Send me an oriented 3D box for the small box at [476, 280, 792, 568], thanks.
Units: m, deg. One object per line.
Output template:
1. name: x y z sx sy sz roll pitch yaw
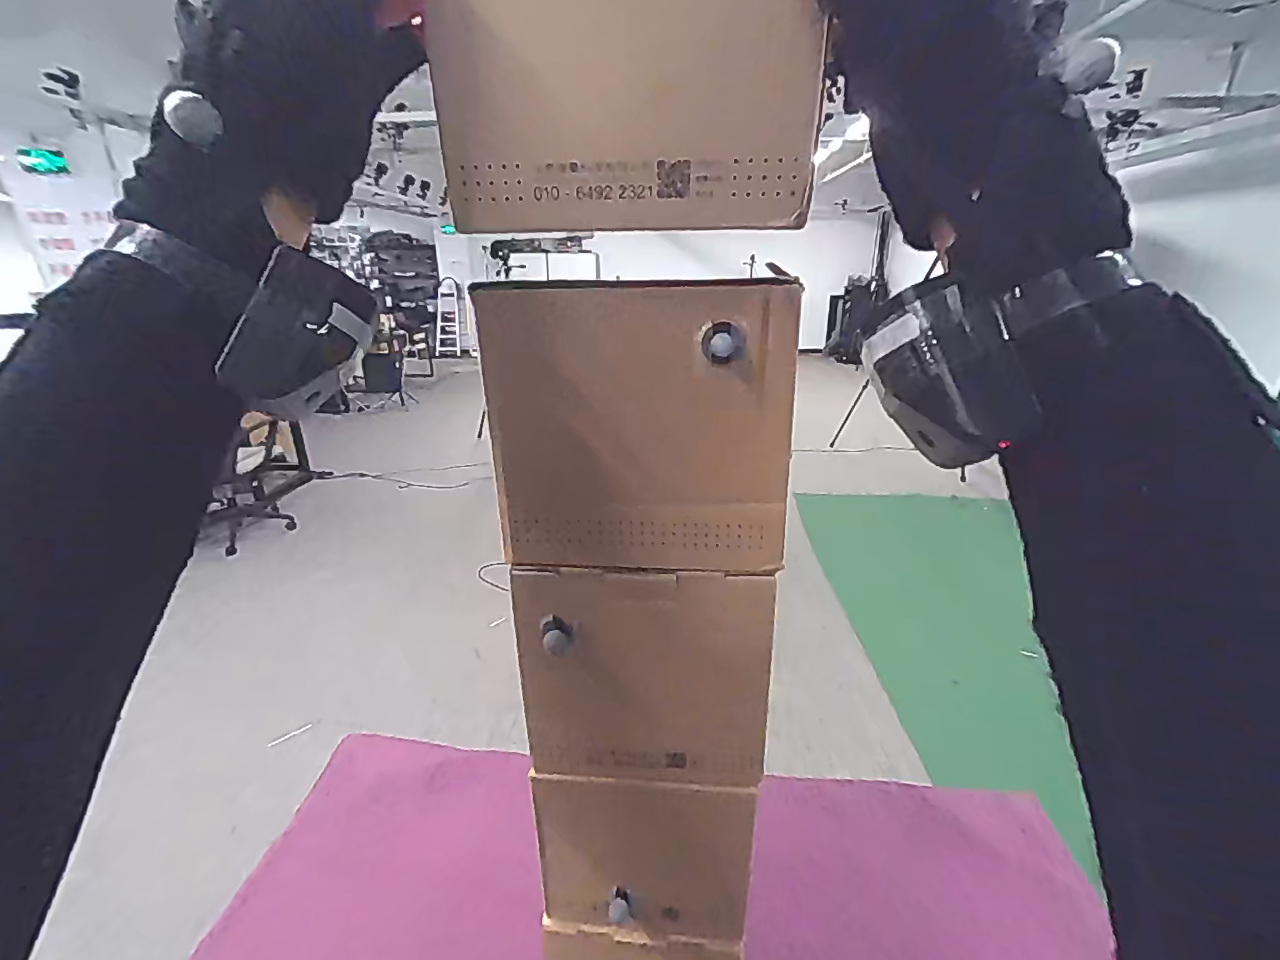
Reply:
1. small box: 0.004 -0.048 0.387 0.179 0.176 0.168 1 19 5

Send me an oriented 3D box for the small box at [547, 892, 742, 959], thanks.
1. small box: 0.011 0.415 0.547 0.168 0.176 0.179 1 21 6

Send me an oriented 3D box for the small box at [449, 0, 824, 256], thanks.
1. small box: 0.001 -0.221 0.303 0.168 0.176 0.179 1 24 5

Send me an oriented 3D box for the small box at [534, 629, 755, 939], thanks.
1. small box: 0.011 0.261 0.494 0.168 0.176 0.179 1 21 6
